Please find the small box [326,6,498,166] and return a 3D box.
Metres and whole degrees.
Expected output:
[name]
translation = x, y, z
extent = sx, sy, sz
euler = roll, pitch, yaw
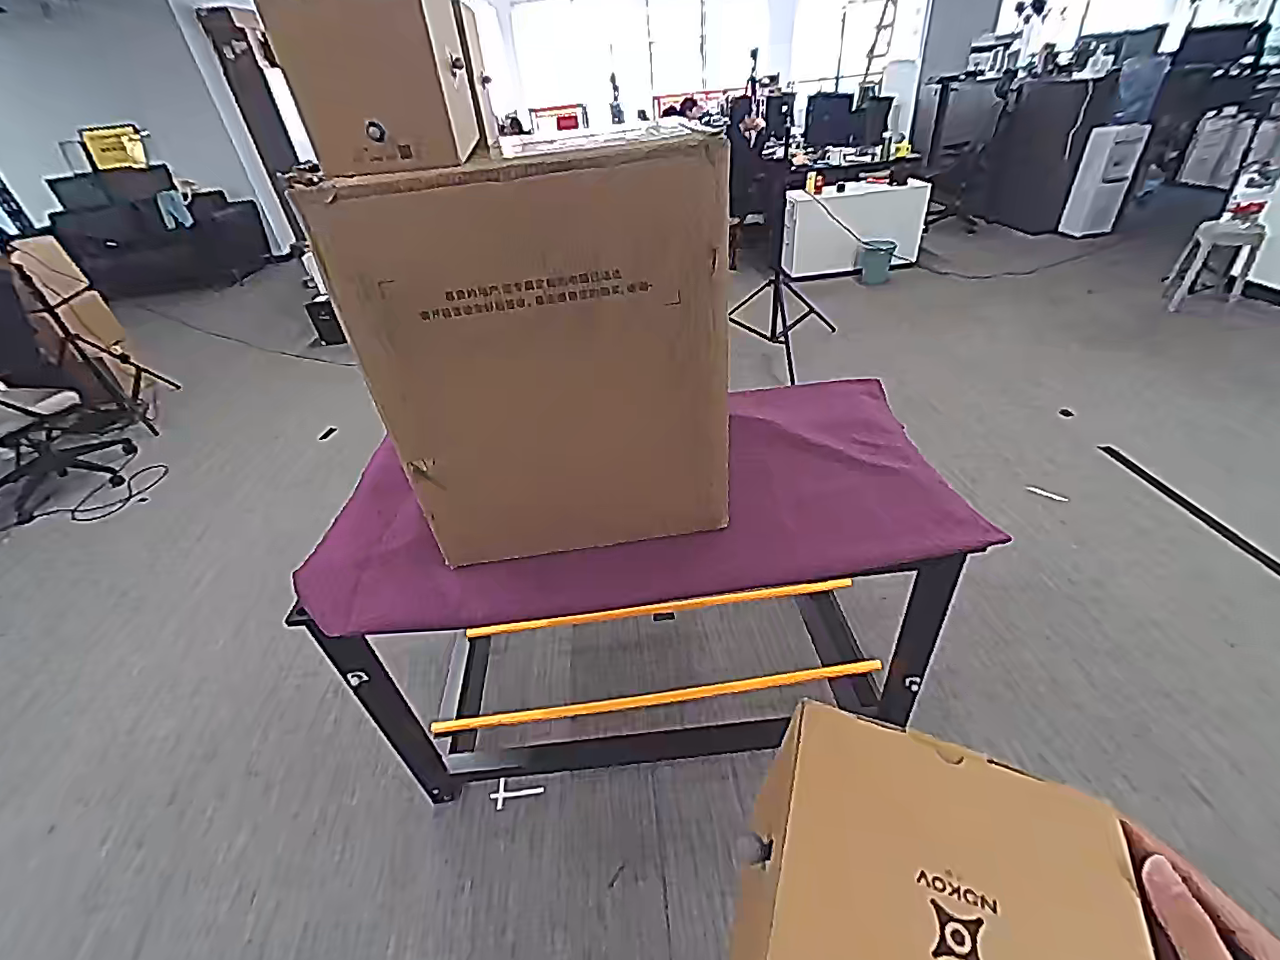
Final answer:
[small box]
translation = -0.317, -0.578, 0.801
extent = 0.179, 0.176, 0.168
euler = -8, 36, -3
